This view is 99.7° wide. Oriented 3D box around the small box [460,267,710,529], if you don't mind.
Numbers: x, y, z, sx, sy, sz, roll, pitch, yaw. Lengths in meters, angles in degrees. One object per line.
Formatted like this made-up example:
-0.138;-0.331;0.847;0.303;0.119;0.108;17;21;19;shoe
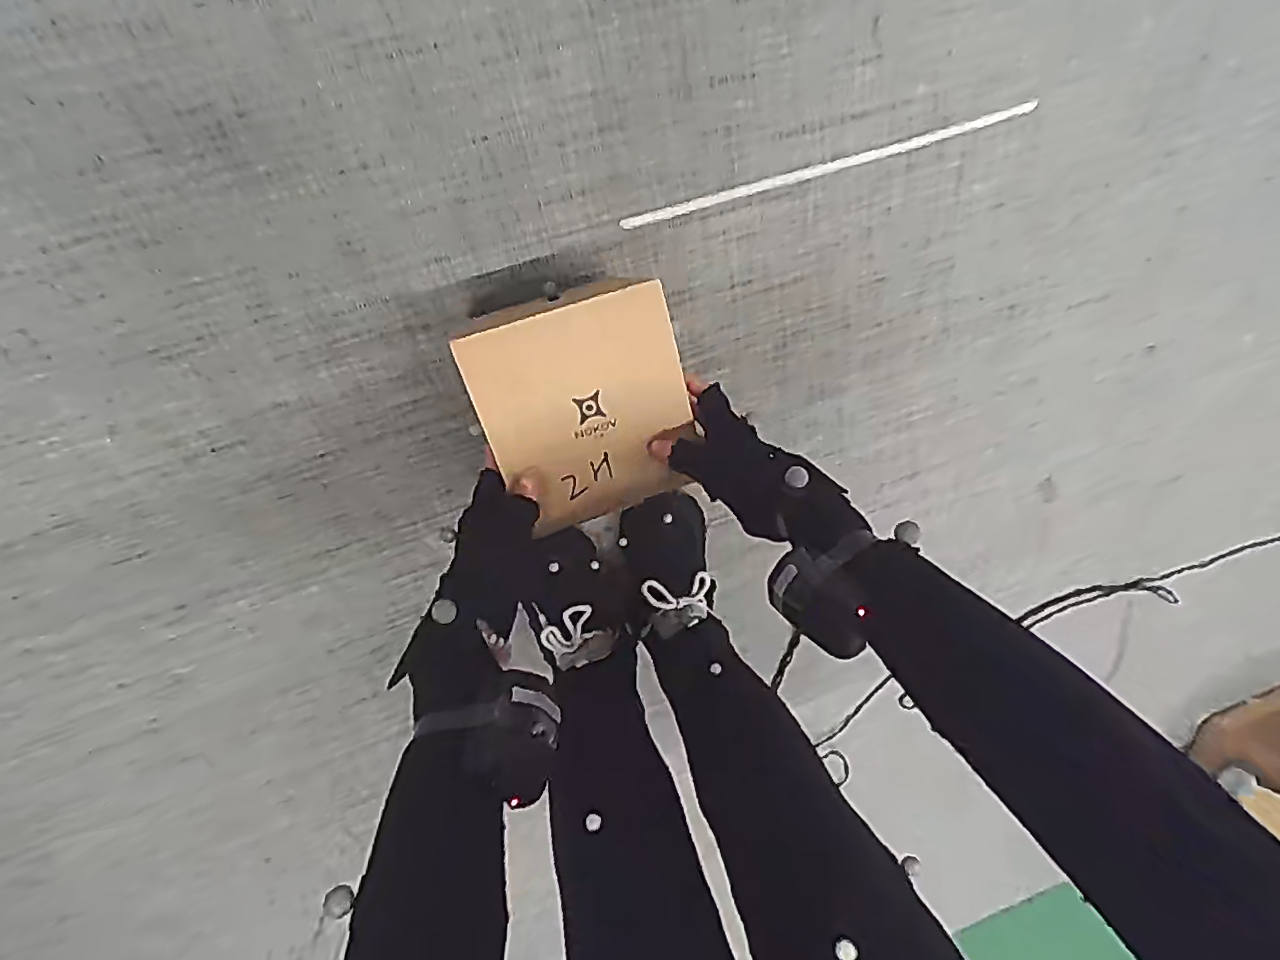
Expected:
-0.055;-0.087;0.506;0.168;0.176;0.179;-20;115;-7;small box
